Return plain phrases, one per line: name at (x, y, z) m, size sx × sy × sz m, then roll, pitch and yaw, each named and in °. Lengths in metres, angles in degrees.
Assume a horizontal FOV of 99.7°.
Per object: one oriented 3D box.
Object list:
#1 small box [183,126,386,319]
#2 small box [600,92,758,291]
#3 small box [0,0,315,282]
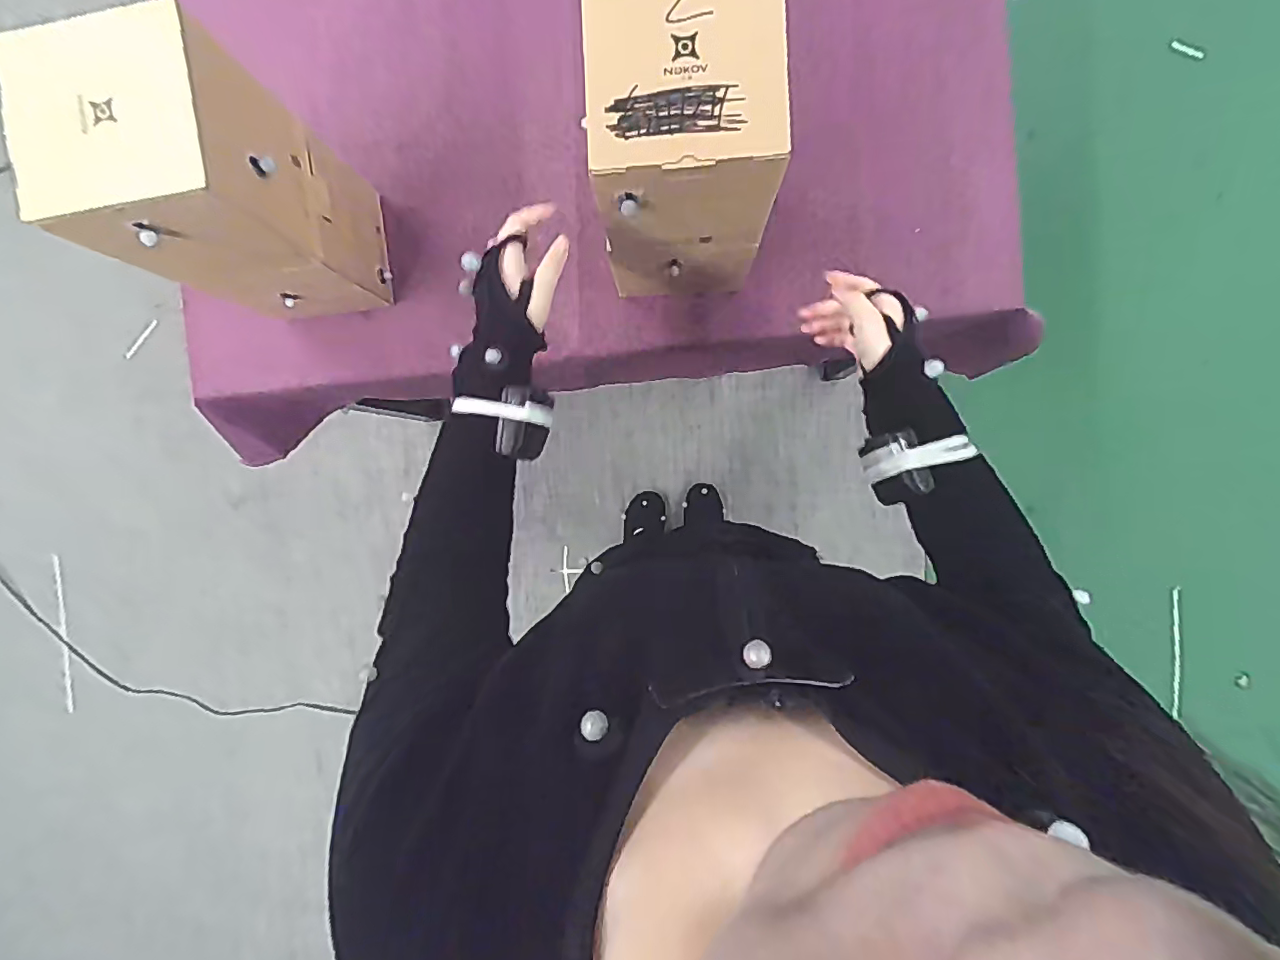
small box at (-0.456, -0.322, 0.708) m, size 0.179 × 0.176 × 0.168 m, roll -8°, pitch 91°, yaw 4°
small box at (0.049, -0.344, 0.679) m, size 0.179 × 0.176 × 0.168 m, roll -1°, pitch 93°, yaw 3°
small box at (-0.461, -0.318, 0.545) m, size 0.179 × 0.176 × 0.168 m, roll -9°, pitch 91°, yaw 4°
